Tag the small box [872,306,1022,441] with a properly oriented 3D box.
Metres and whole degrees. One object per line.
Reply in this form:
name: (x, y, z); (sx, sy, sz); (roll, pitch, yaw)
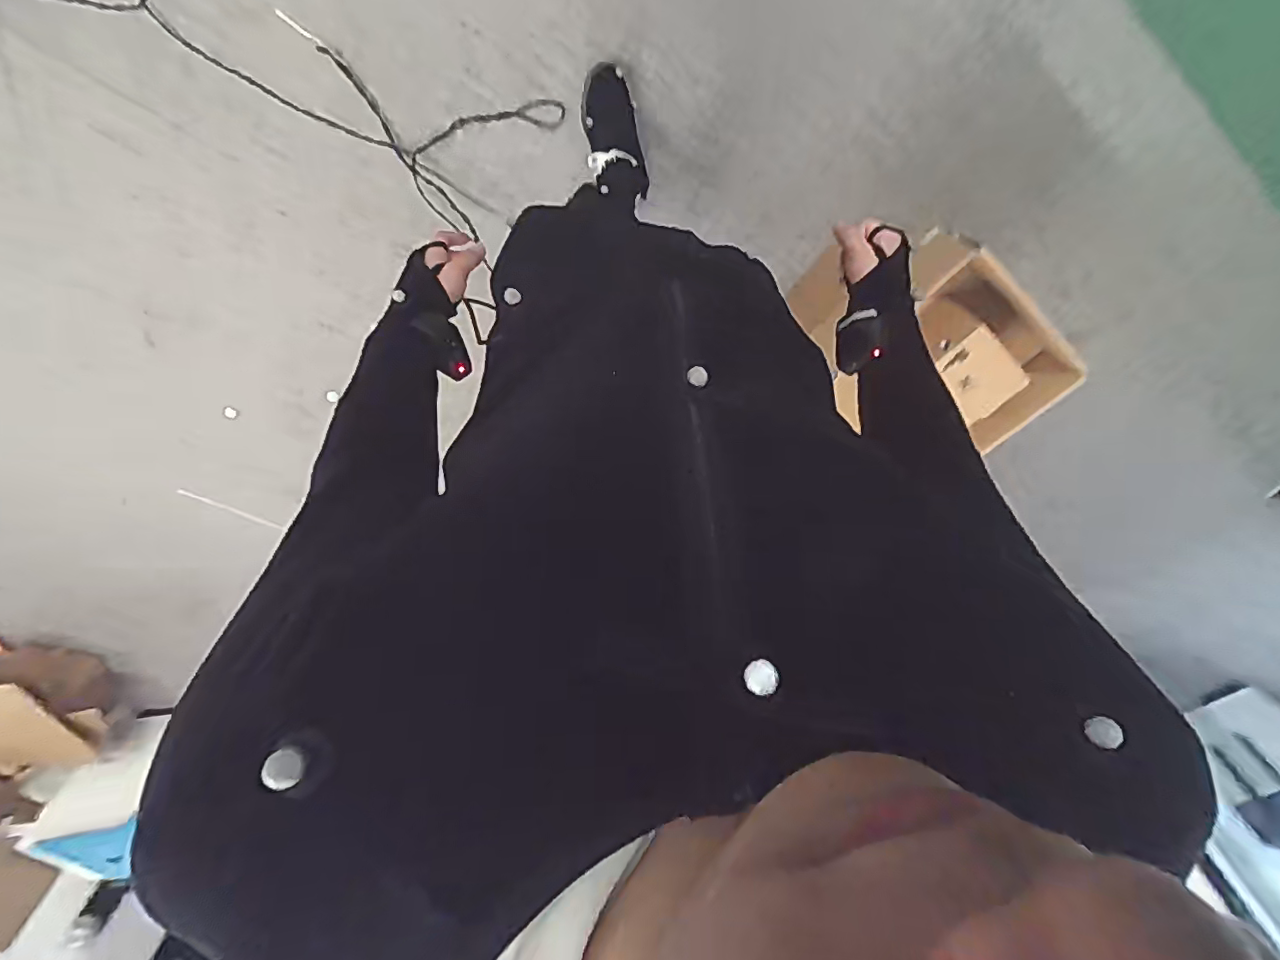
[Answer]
small box: (0.605, -0.218, 1.085); (0.179, 0.176, 0.168); (34, 119, -23)
